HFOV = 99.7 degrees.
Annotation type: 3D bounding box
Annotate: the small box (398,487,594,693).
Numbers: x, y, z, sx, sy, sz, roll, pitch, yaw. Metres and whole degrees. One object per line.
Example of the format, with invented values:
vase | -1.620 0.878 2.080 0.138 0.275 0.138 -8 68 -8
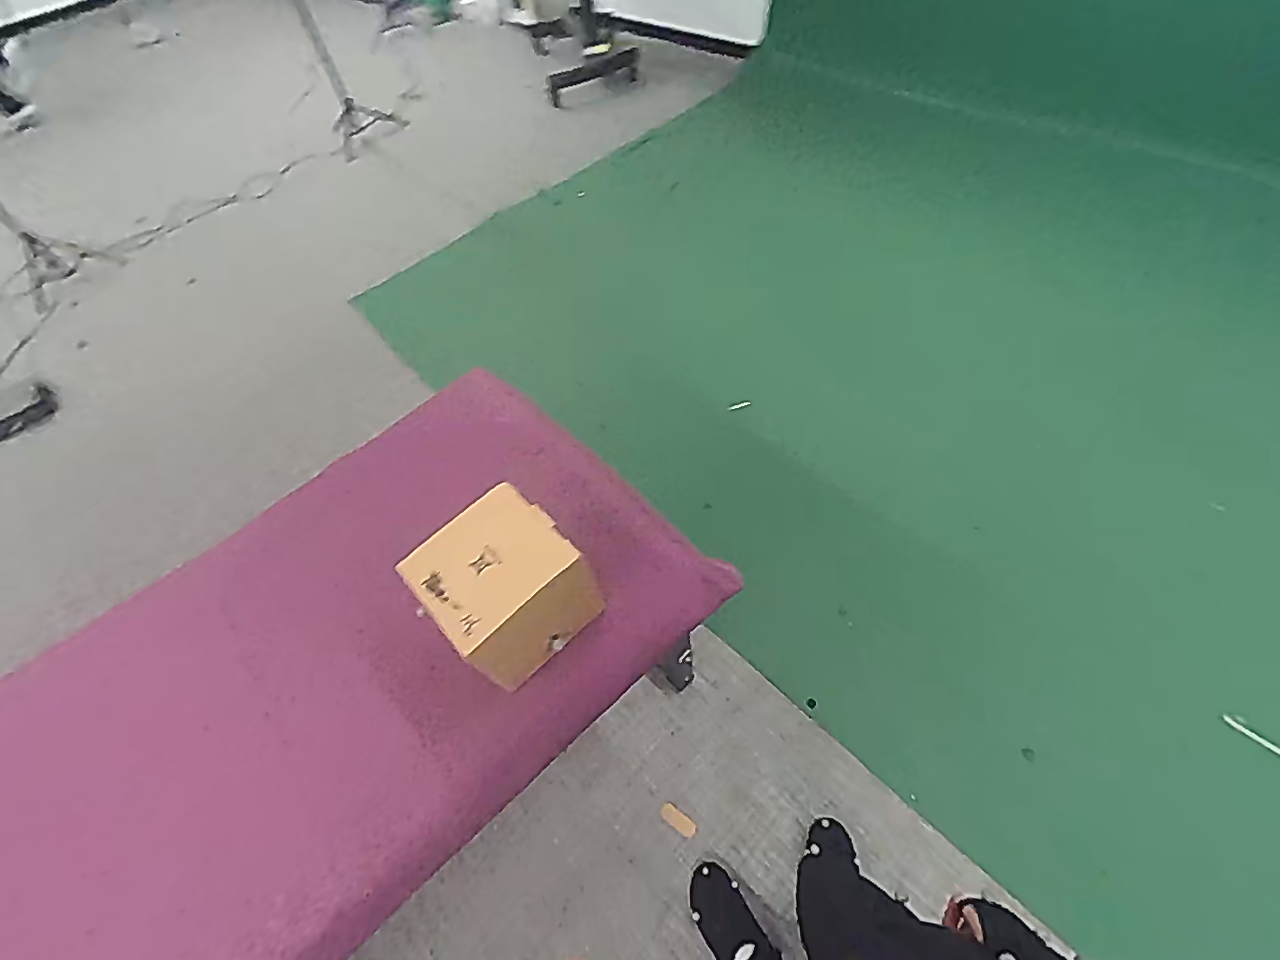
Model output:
small box | -0.178 0.150 0.728 0.179 0.176 0.168 -40 57 -19
